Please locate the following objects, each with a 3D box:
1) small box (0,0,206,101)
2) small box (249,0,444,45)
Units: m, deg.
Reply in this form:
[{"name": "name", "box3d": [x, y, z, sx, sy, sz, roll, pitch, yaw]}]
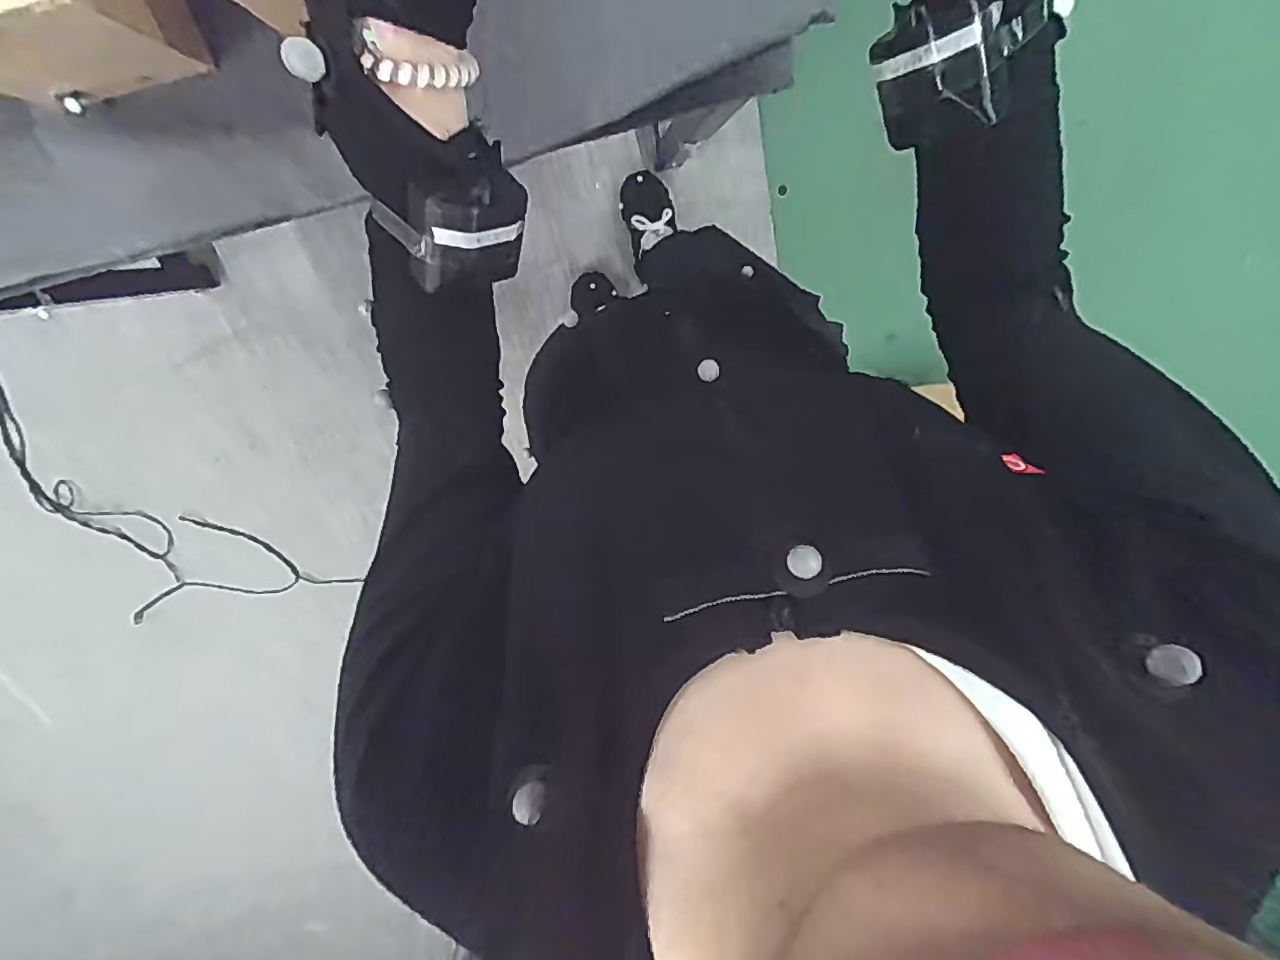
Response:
[{"name": "small box", "box3d": [-0.513, -0.433, 0.434, 0.168, 0.176, 0.179, -14, 112, 1]}, {"name": "small box", "box3d": [-0.279, -0.496, 0.429, 0.168, 0.176, 0.179, -15, 113, 2]}]
